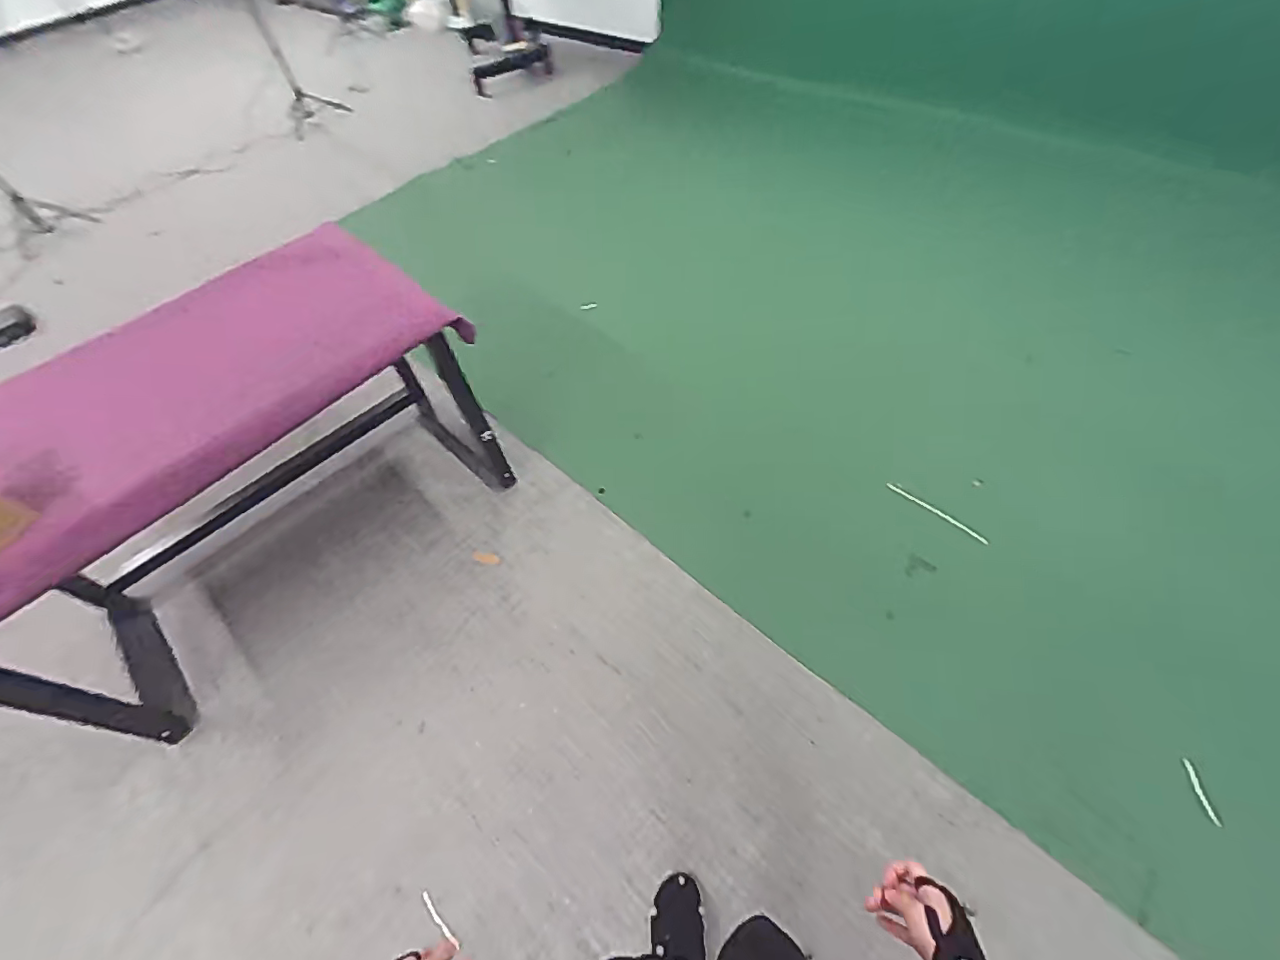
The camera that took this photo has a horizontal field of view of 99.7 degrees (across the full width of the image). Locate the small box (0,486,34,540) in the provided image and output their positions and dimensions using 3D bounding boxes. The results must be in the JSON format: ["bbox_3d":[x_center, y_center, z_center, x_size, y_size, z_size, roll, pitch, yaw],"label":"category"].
[{"bbox_3d":[-1.236,0.053,0.925,0.168,0.176,0.179,14,57,16],"label":"small box"}]
